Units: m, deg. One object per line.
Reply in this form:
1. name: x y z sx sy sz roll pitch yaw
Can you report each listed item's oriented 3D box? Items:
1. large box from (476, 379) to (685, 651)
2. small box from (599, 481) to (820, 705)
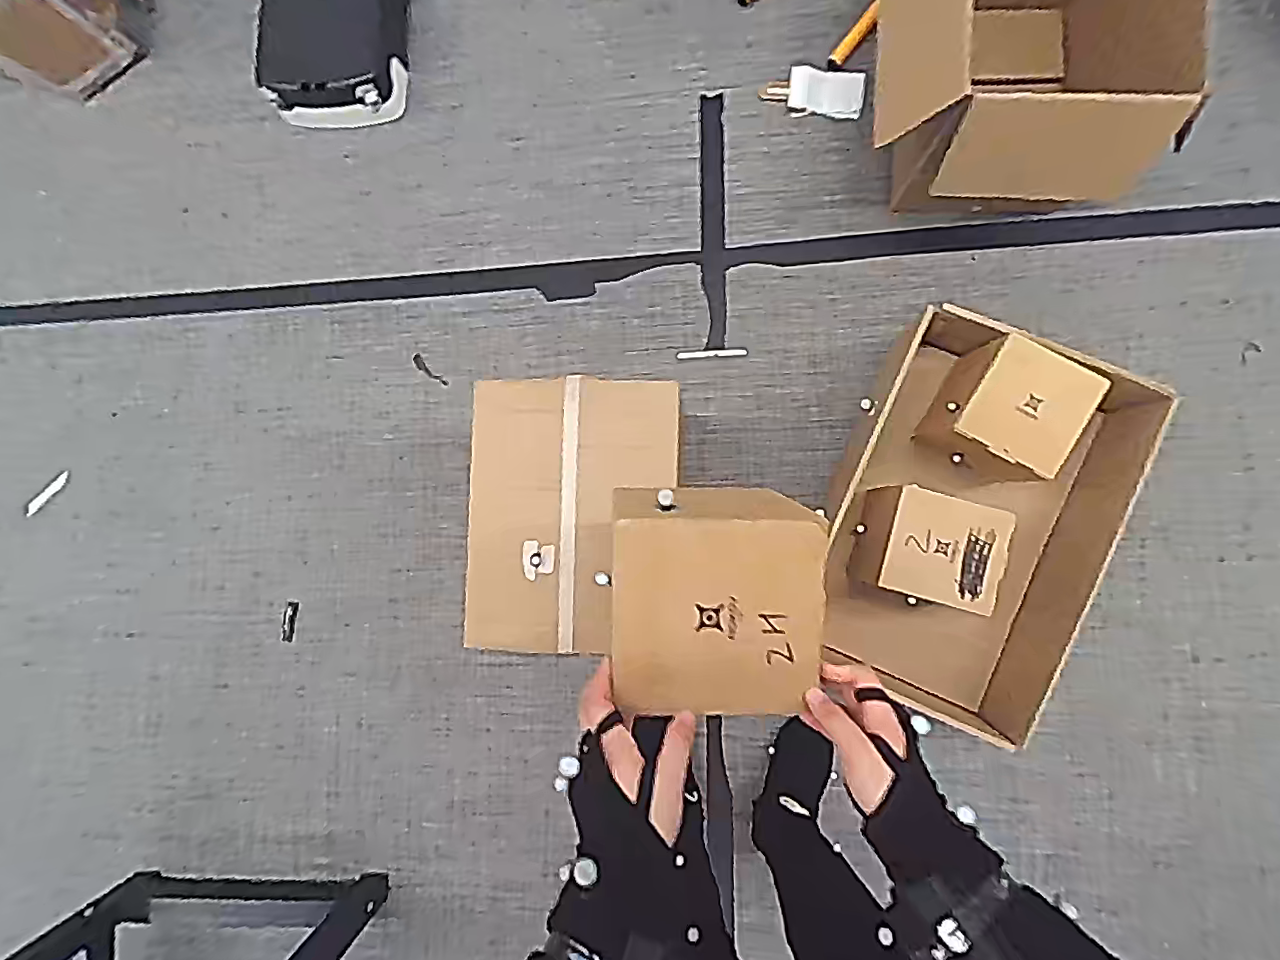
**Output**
1. large box: -0.077 0.053 0.942 0.320 0.320 0.408 1 89 7
2. small box: 0.052 0.094 0.515 0.179 0.176 0.168 1 98 -4
